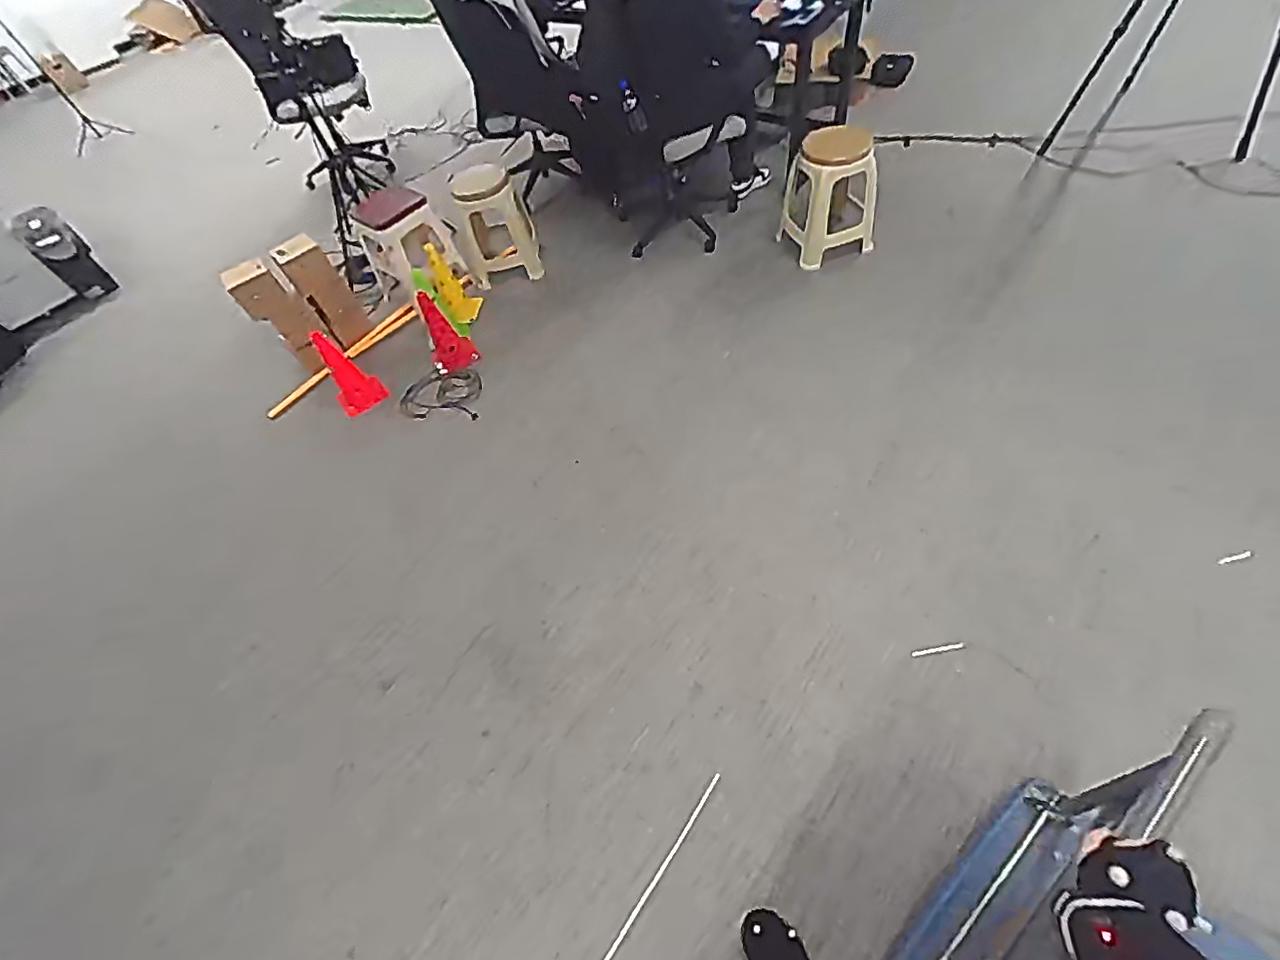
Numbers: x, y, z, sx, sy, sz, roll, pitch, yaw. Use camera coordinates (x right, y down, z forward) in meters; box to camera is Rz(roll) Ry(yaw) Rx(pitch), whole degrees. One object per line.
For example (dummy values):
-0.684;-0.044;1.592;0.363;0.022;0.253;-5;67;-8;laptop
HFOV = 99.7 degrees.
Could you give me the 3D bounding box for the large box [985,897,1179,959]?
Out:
0.745;0.917;0.788;0.320;0.320;0.408;-40;56;-17;large box
